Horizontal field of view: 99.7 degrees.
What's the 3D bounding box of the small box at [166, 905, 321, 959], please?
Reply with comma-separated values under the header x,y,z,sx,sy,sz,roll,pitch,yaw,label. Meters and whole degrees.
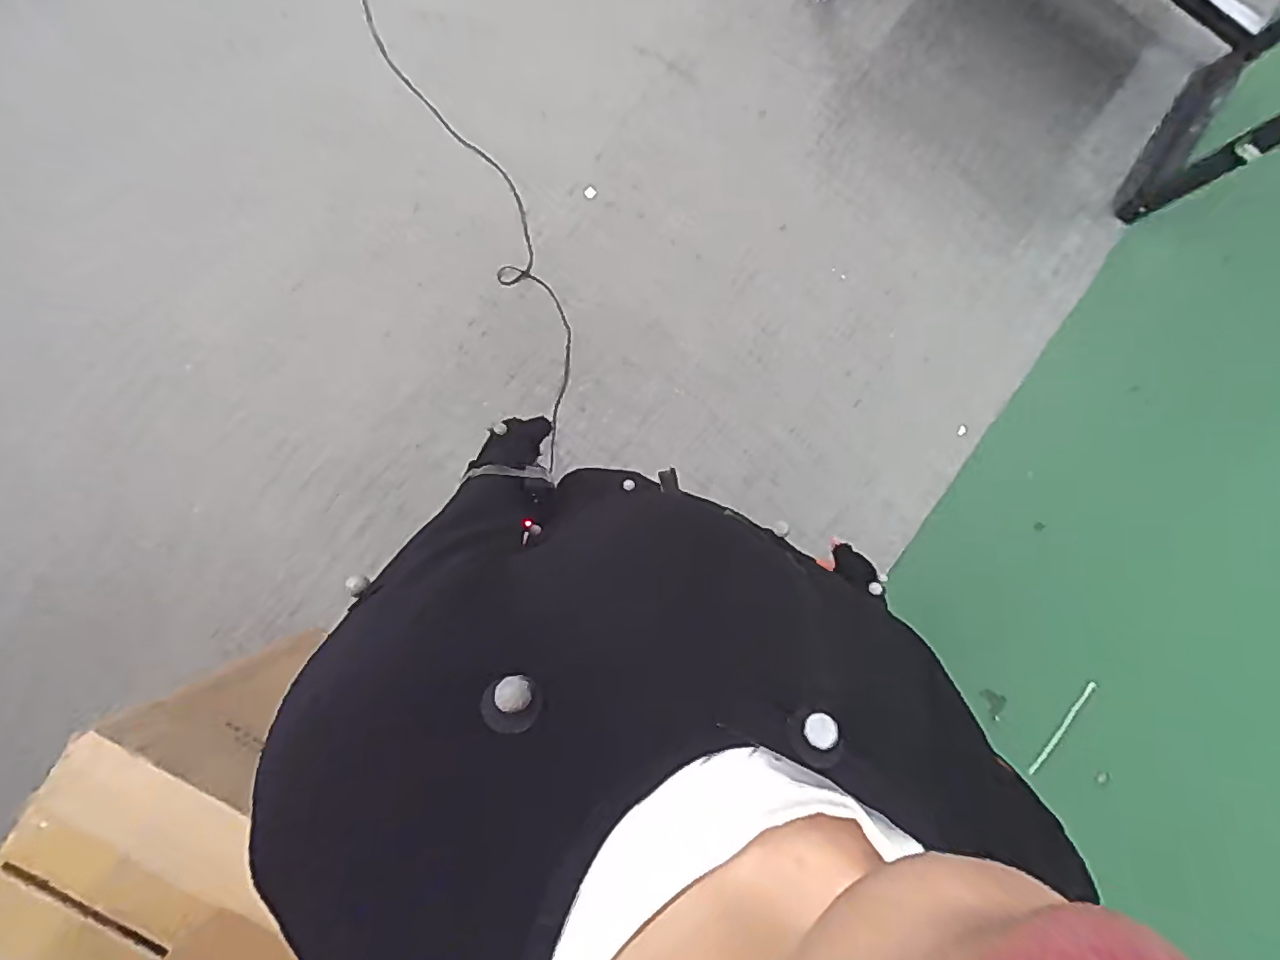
x,y,z,sx,sy,sz,roll,pitch,yaw,label
-0.561,0.707,0.697,0.179,0.176,0.168,31,77,-2,small box
